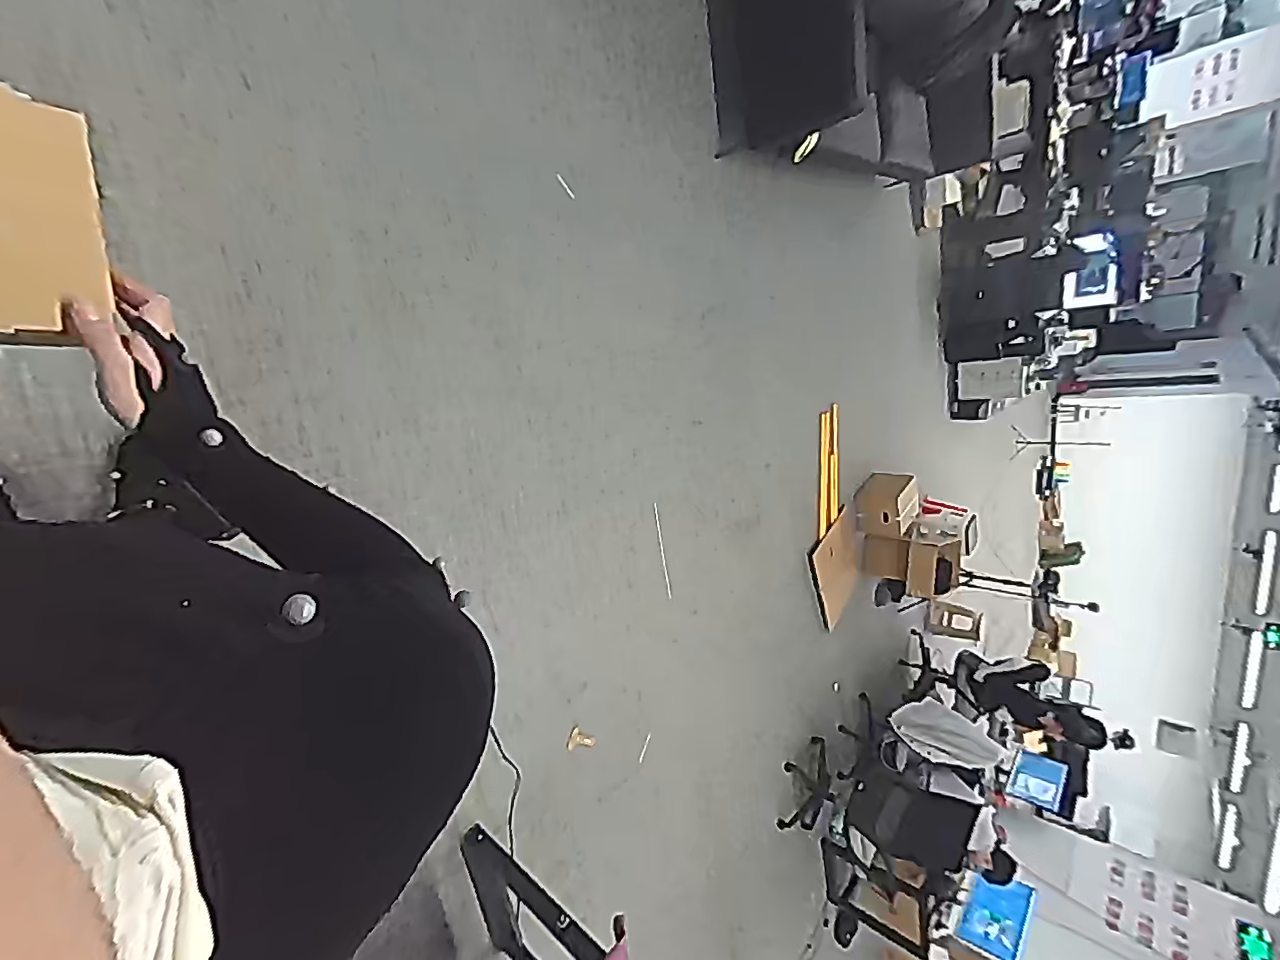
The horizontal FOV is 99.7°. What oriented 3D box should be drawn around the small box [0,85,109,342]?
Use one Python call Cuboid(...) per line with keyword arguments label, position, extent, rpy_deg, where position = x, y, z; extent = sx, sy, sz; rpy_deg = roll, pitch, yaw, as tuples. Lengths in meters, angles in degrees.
Cuboid(label="small box", position=(-0.562, -0.212, 0.439), extent=(0.168, 0.176, 0.179), rpy_deg=(-10, 104, -45))
